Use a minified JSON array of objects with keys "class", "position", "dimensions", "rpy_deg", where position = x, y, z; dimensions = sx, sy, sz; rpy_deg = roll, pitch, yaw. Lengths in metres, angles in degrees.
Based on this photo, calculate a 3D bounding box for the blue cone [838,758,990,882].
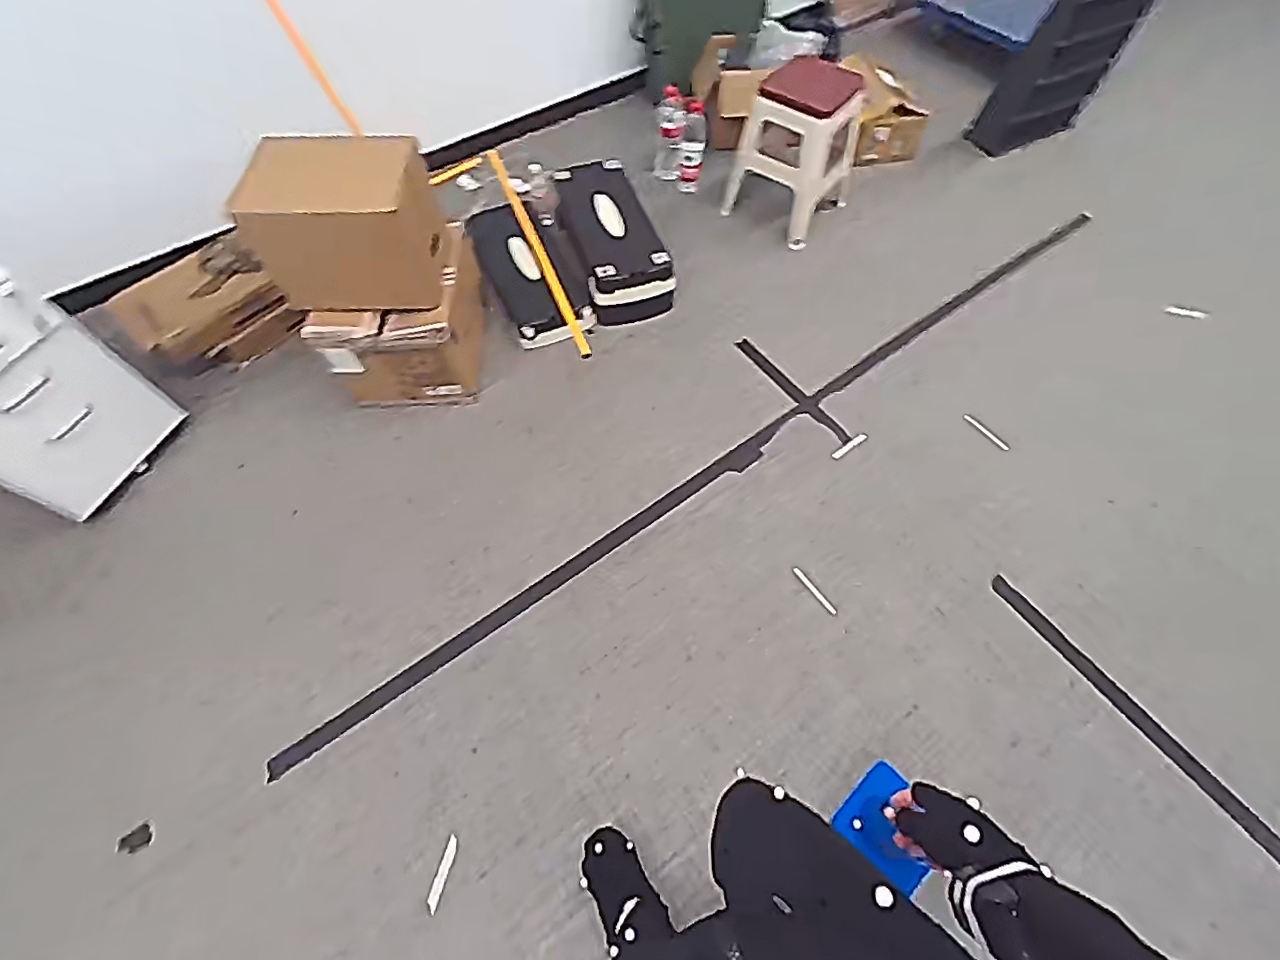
[{"class":"blue cone","position":[0.551,0.662,1.043],"dimensions":[0.192,0.380,0.193],"rpy_deg":[-38,67,-18]}]
